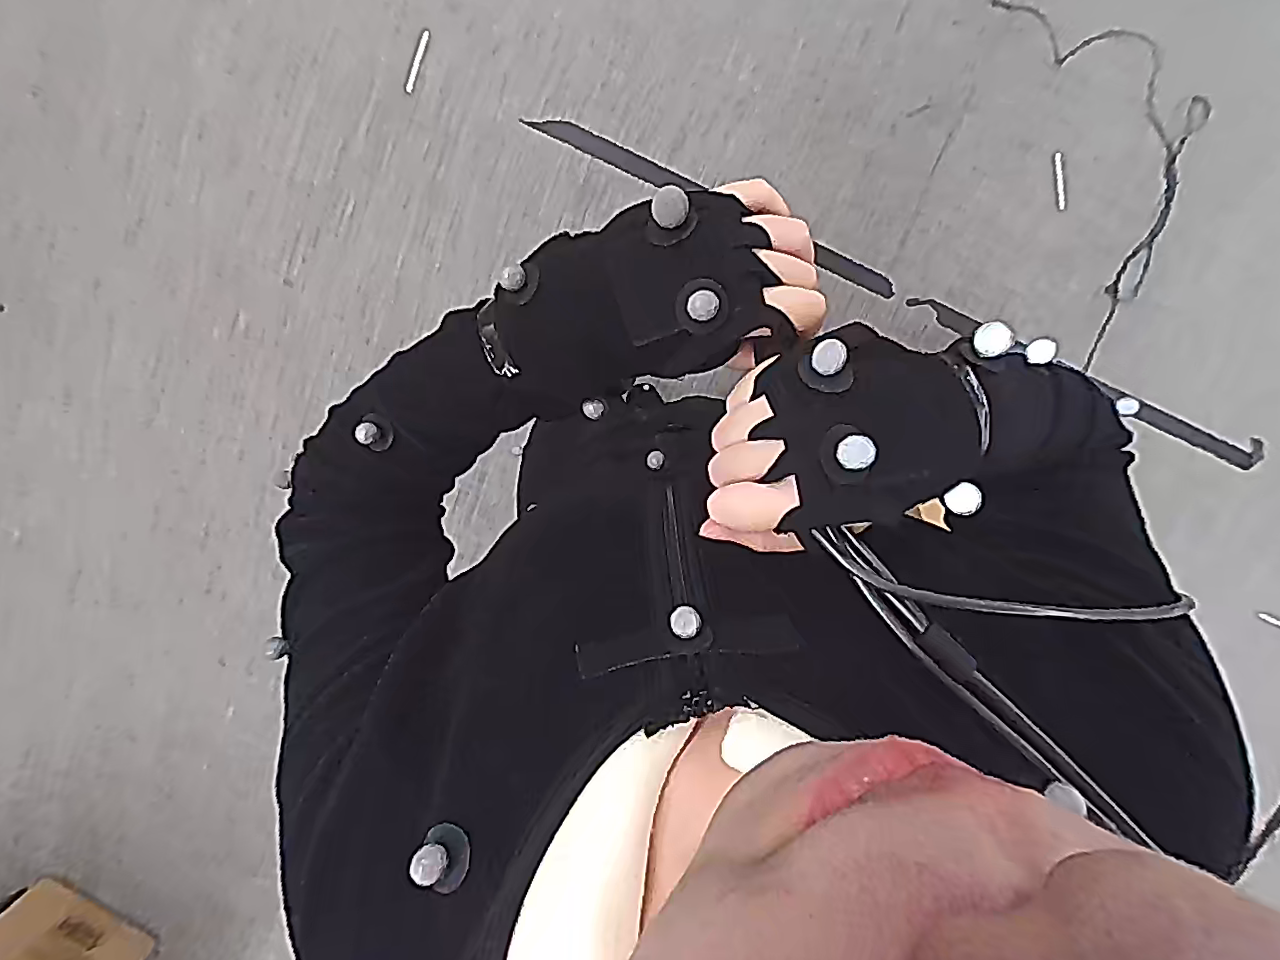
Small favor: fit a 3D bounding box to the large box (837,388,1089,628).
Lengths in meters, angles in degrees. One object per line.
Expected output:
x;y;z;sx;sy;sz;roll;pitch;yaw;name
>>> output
0.695;0.041;1.209;0.320;0.320;0.408;-21;103;2;large box
